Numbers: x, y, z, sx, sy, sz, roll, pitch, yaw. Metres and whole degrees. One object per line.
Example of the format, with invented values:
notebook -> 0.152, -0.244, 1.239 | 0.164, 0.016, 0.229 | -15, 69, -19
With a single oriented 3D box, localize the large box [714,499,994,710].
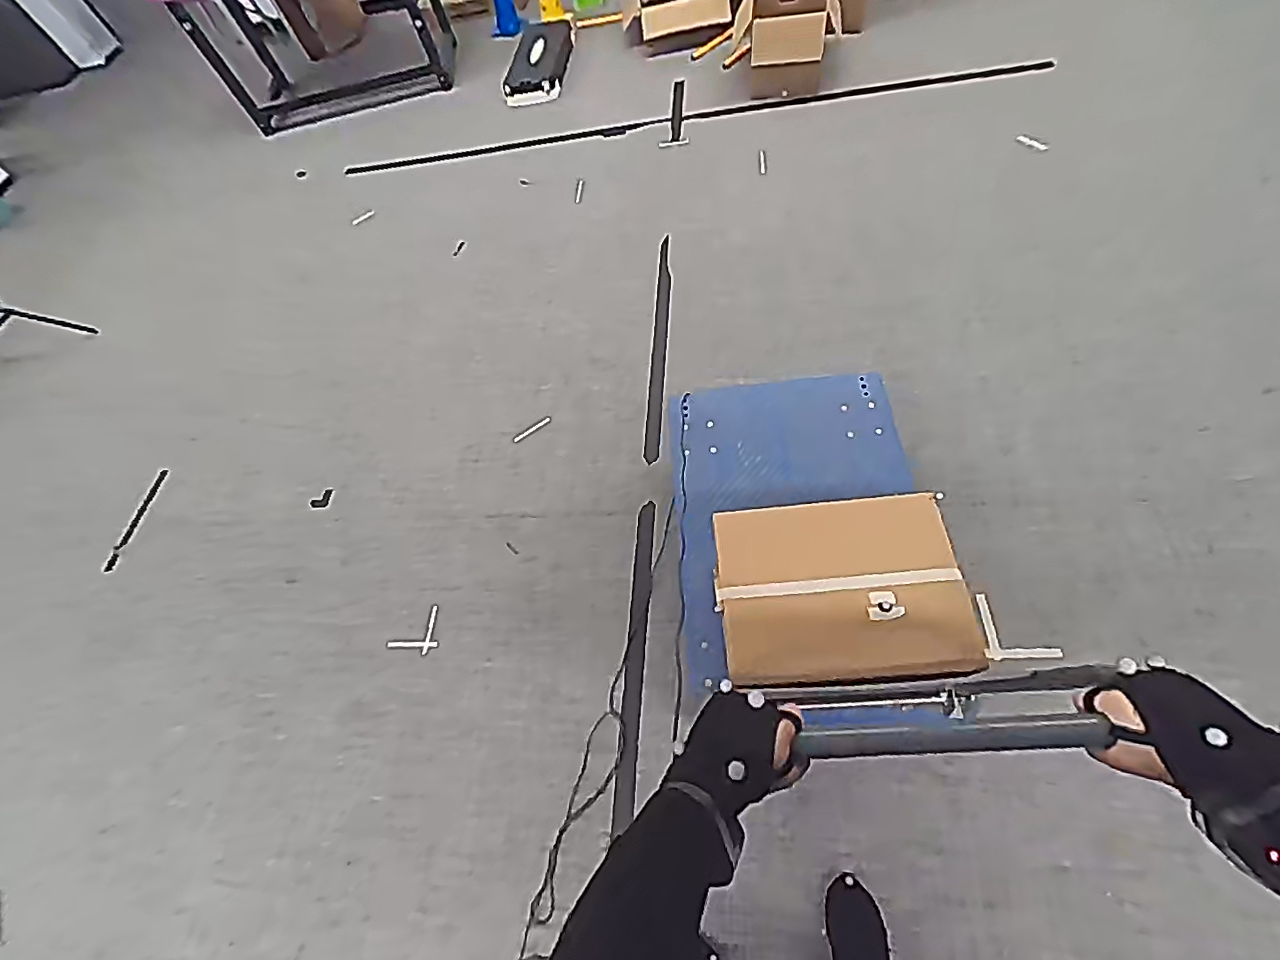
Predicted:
large box -> 0.364, 0.258, 1.051 | 0.408, 0.320, 0.320 | -6, 63, 6
